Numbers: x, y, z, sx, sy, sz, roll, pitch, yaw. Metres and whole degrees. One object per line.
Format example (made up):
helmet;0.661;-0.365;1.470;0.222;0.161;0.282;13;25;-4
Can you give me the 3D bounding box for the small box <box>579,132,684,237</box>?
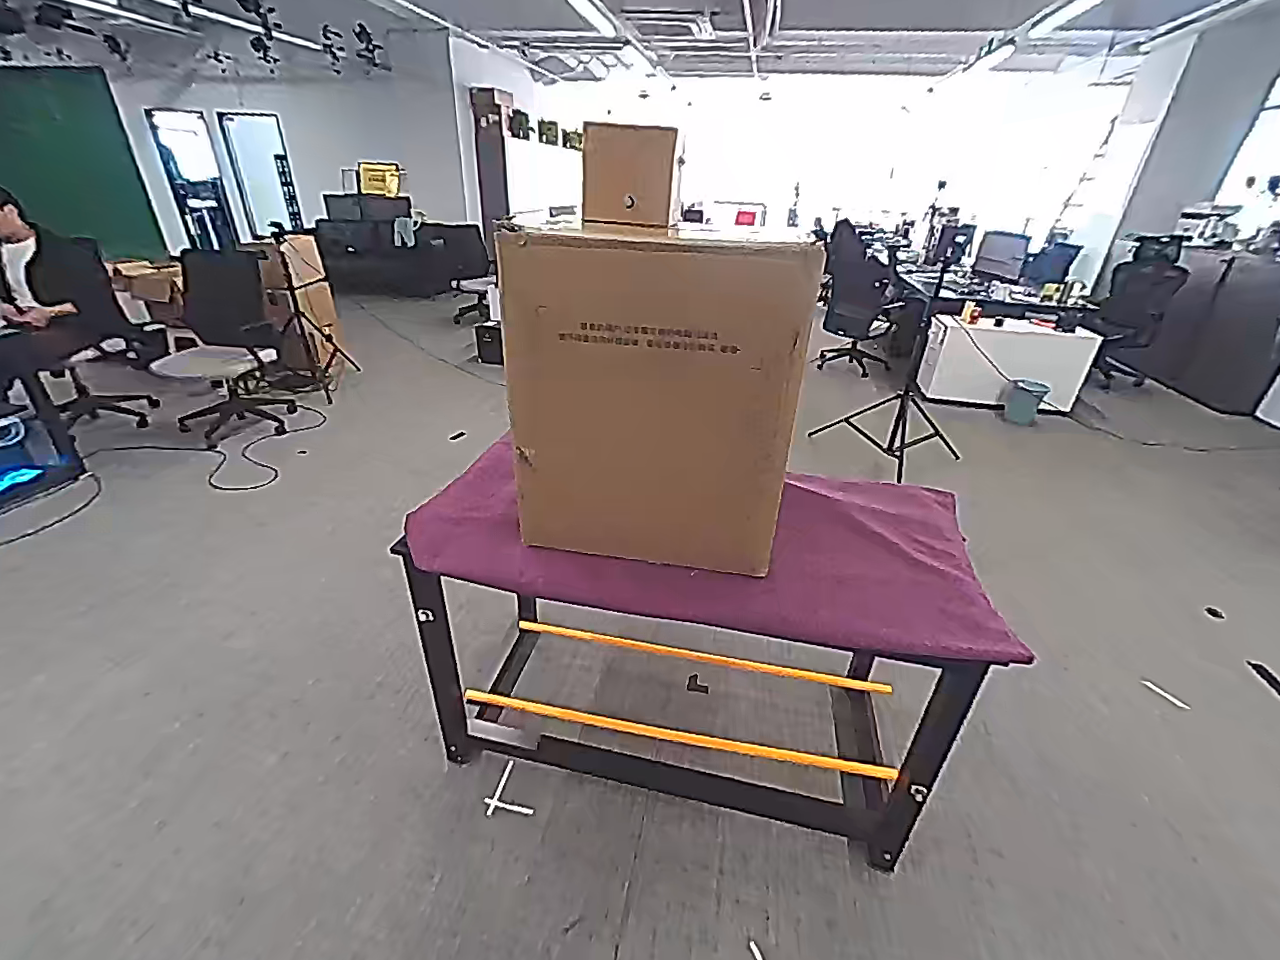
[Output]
small box;-0.015;-0.585;1.074;0.179;0.176;0.168;8;29;9
